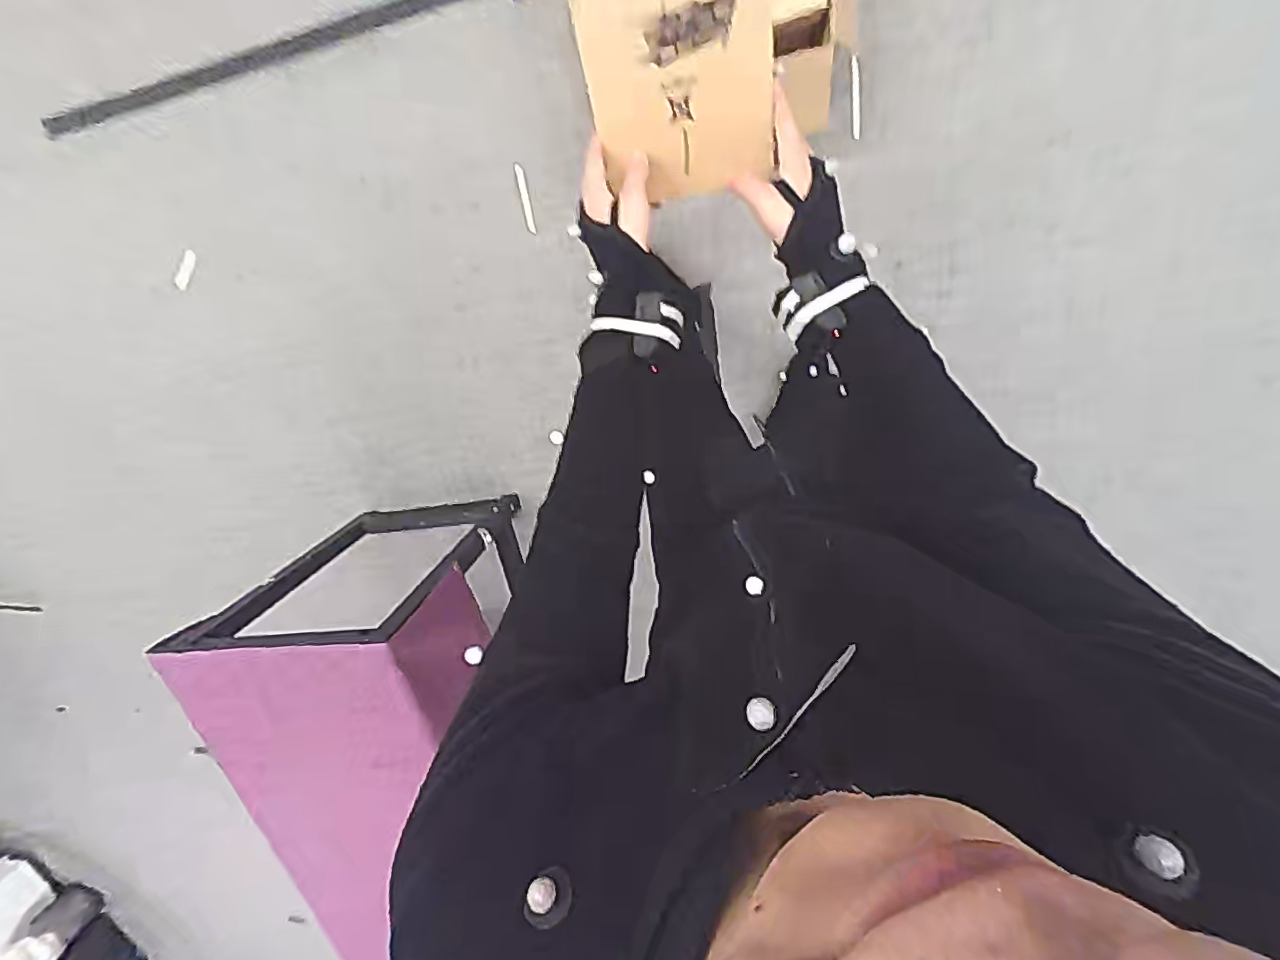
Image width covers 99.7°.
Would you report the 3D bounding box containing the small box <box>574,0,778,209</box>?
[{"bbox_3d":[0.047,-0.398,0.538,0.168,0.176,0.179,-3,133,13],"label":"small box"}]
